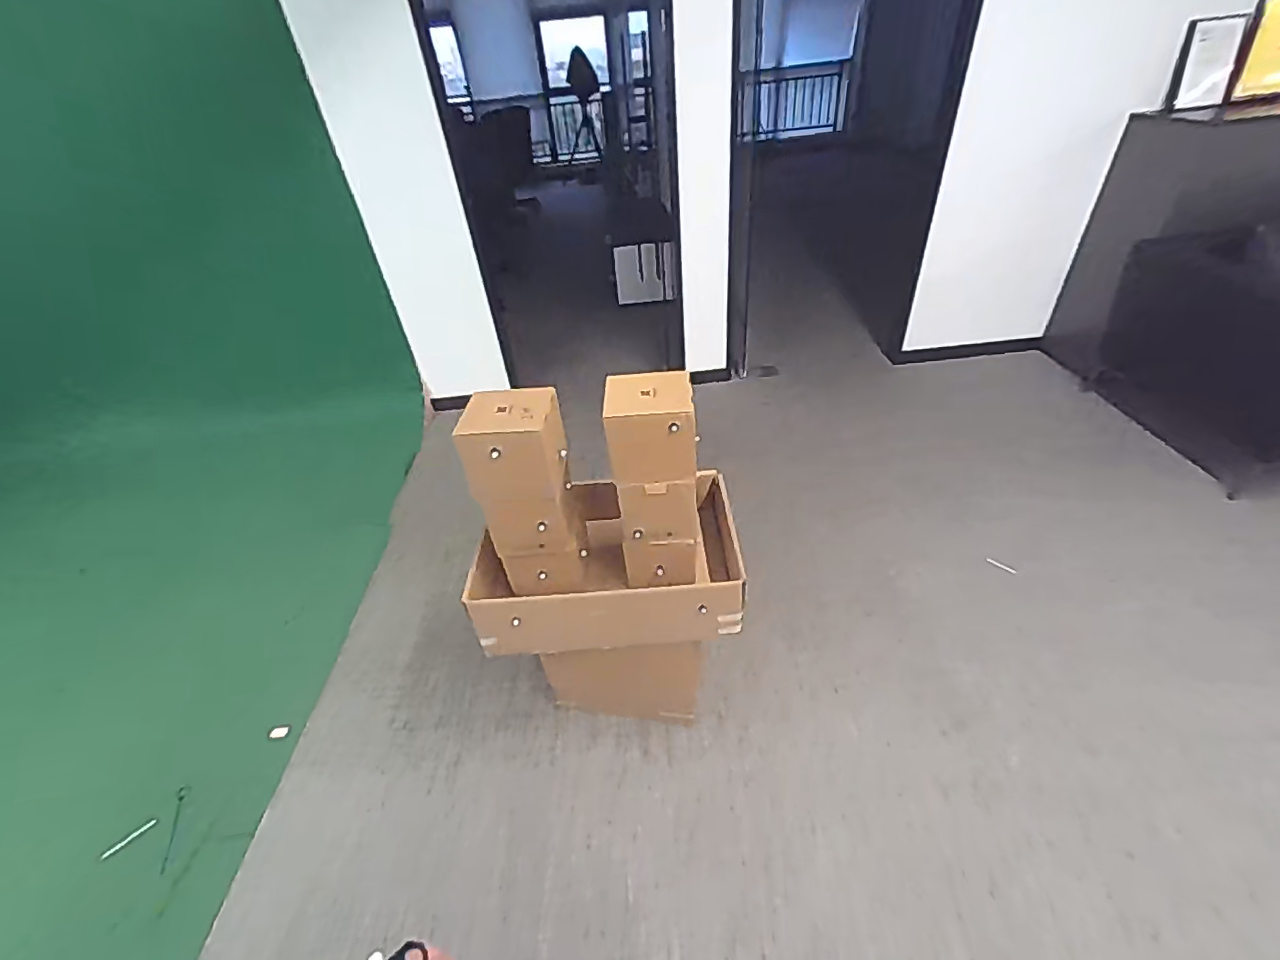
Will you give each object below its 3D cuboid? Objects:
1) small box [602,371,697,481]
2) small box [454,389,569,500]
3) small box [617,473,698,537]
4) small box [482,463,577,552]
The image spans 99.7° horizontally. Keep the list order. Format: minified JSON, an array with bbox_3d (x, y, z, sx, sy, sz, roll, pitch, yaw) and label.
[{"bbox_3d":[0.024,-0.110,1.128,0.179,0.176,0.168,-4,39,4],"label":"small box"},{"bbox_3d":[-0.256,-0.071,1.122,0.179,0.176,0.168,-2,40,5],"label":"small box"},{"bbox_3d":[0.044,0.018,1.228,0.168,0.176,0.179,-4,38,5],"label":"small box"},{"bbox_3d":[-0.240,0.052,1.230,0.168,0.176,0.179,-4,38,3],"label":"small box"}]
